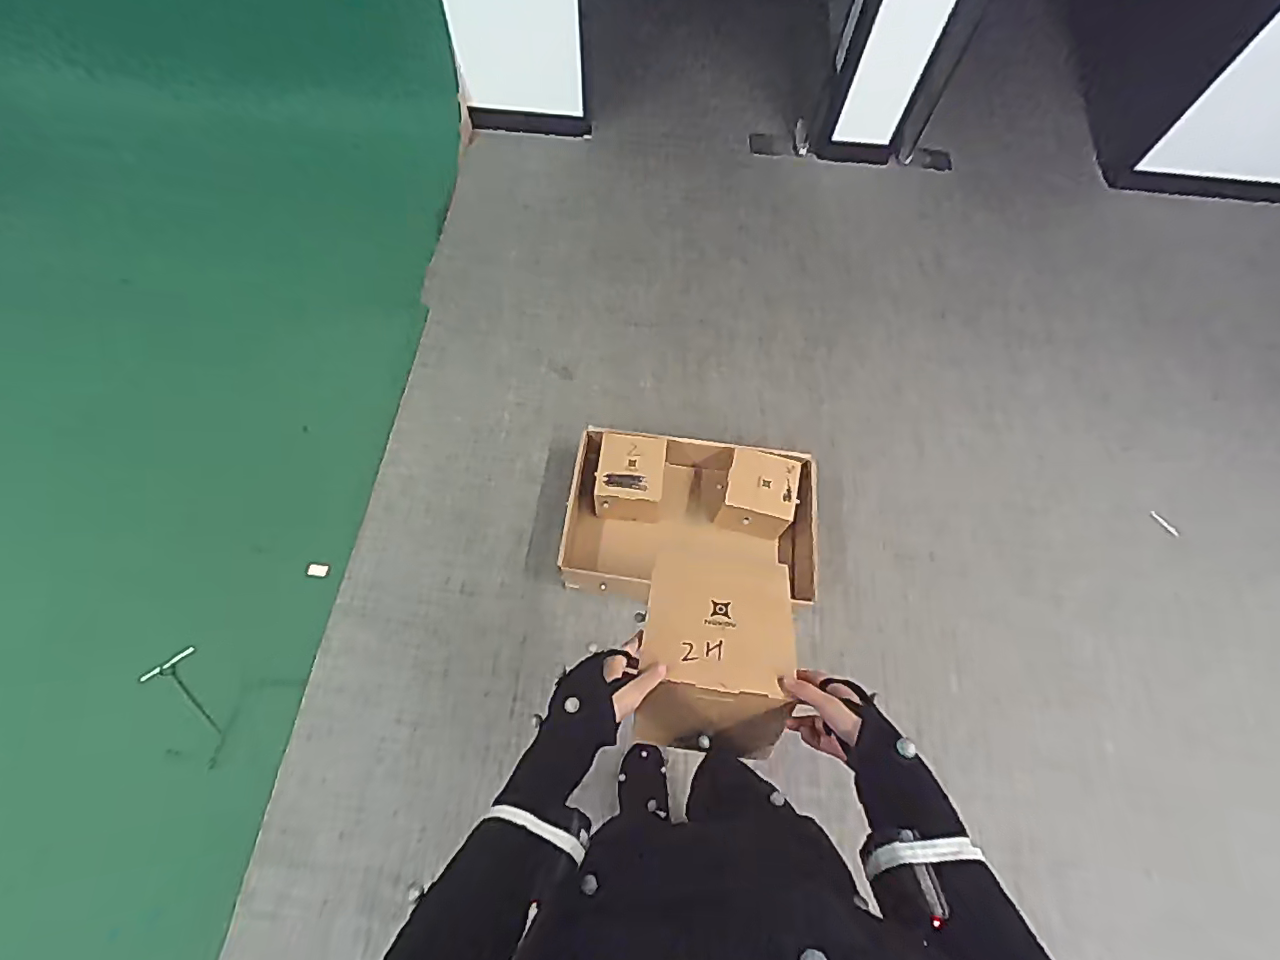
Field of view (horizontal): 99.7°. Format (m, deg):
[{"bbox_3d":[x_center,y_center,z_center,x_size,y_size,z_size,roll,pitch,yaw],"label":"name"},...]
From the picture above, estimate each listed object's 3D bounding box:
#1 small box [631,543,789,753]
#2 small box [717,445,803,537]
[{"bbox_3d":[0.081,0.205,0.663,0.168,0.176,0.179,6,45,6],"label":"small box"},{"bbox_3d":[0.307,0.035,1.413,0.179,0.176,0.168,15,68,6],"label":"small box"}]
